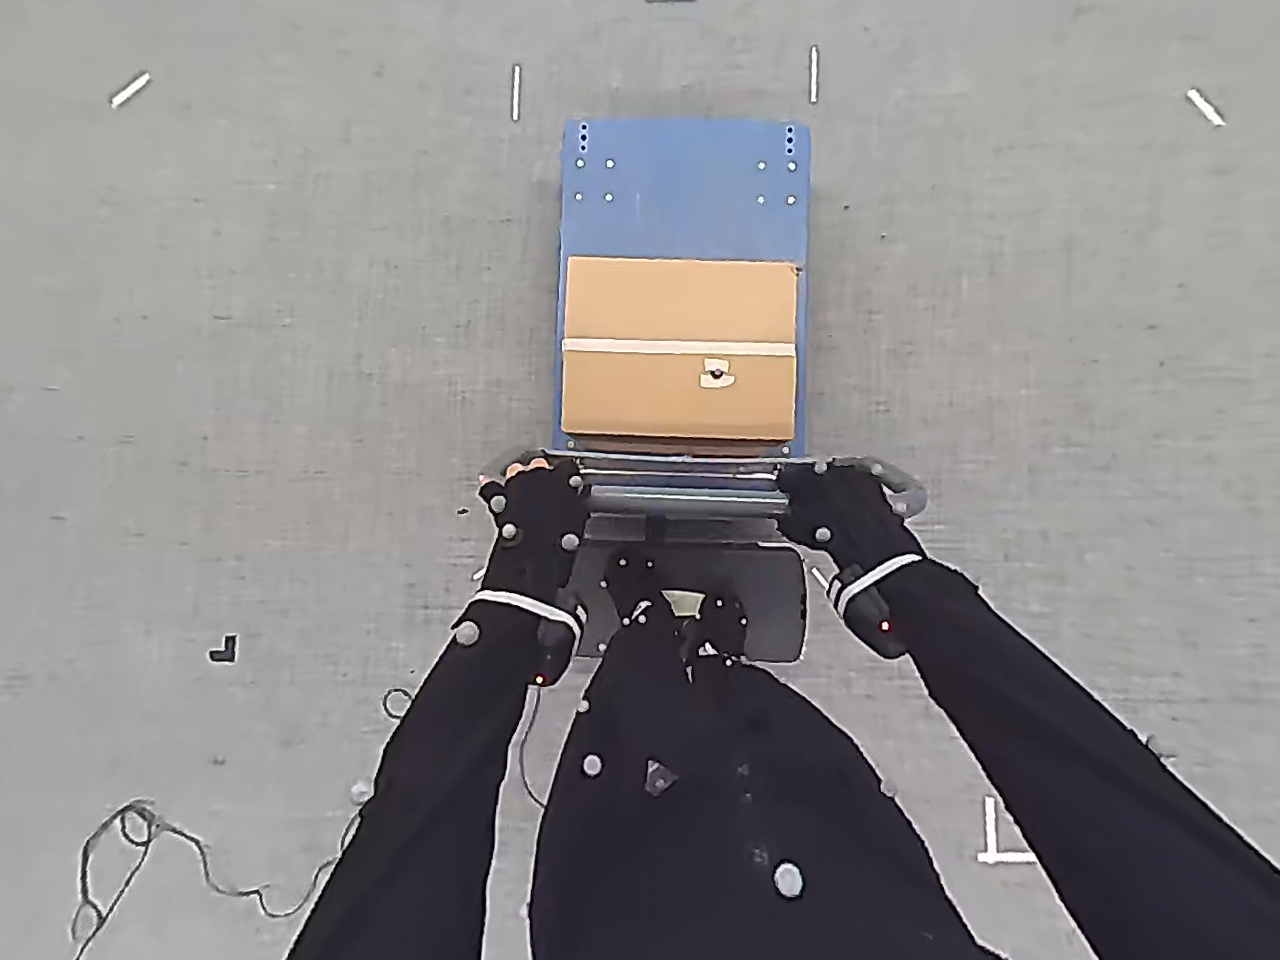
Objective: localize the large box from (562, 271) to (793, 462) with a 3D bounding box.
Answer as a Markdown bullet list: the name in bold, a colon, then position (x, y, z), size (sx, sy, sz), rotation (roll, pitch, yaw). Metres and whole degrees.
- **large box**: position (0.065, -0.202, 1.084), size (0.408, 0.320, 0.320), rotation (2, 88, 1)
